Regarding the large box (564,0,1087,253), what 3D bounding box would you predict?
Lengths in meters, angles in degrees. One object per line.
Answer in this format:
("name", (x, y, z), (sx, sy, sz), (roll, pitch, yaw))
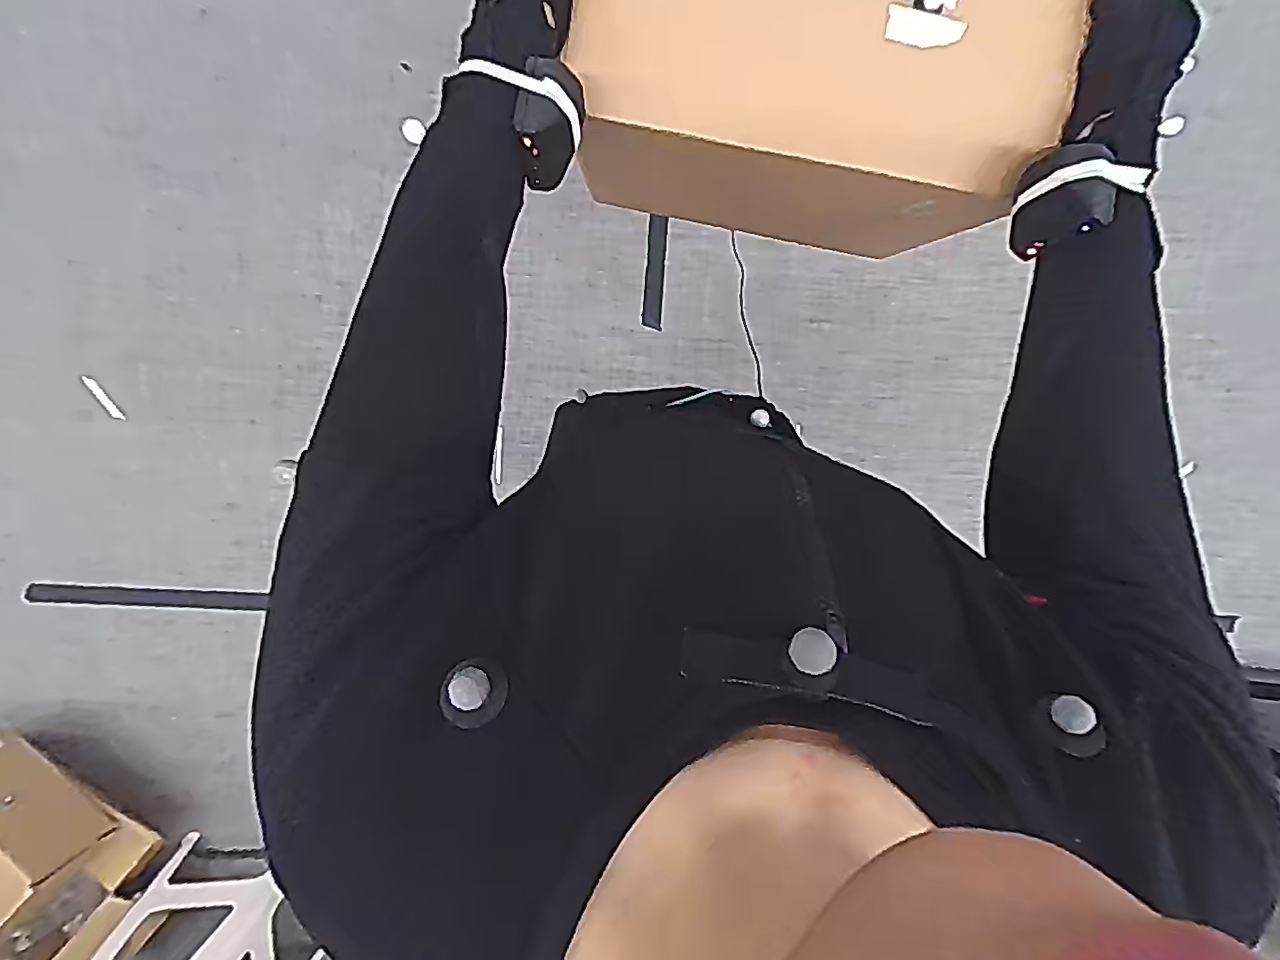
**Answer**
("large box", (0.153, -0.450, 0.556), (0.408, 0.320, 0.320), (10, 105, -3))
